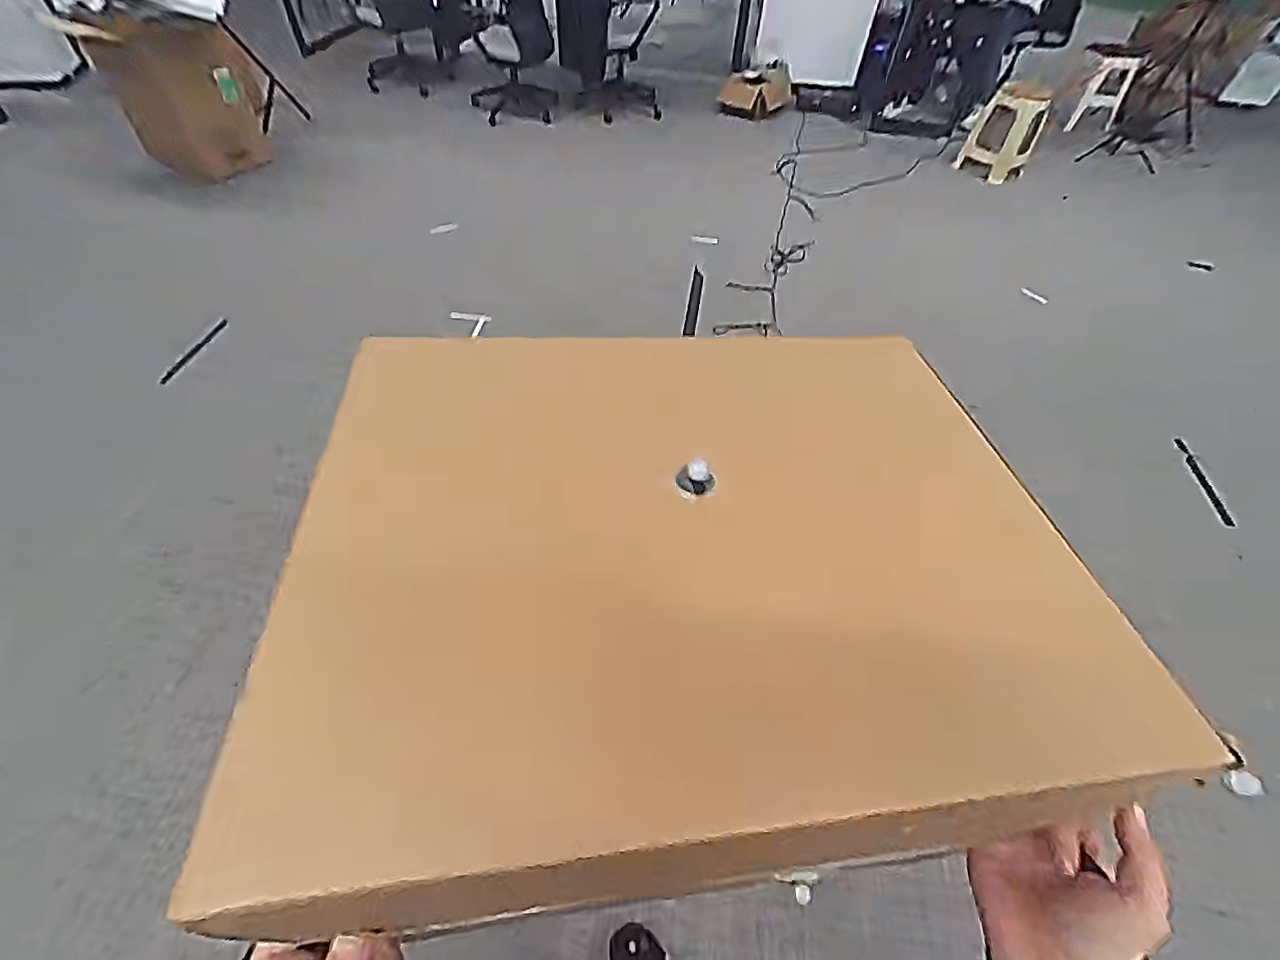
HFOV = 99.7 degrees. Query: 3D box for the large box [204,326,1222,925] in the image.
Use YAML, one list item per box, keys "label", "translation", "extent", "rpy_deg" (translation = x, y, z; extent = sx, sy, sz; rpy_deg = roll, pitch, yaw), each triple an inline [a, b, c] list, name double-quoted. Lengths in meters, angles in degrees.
- label: "large box"
  translation: [0.020, 0.100, 0.409]
  extent: [0.408, 0.320, 0.320]
  rpy_deg: [-3, 50, -8]
